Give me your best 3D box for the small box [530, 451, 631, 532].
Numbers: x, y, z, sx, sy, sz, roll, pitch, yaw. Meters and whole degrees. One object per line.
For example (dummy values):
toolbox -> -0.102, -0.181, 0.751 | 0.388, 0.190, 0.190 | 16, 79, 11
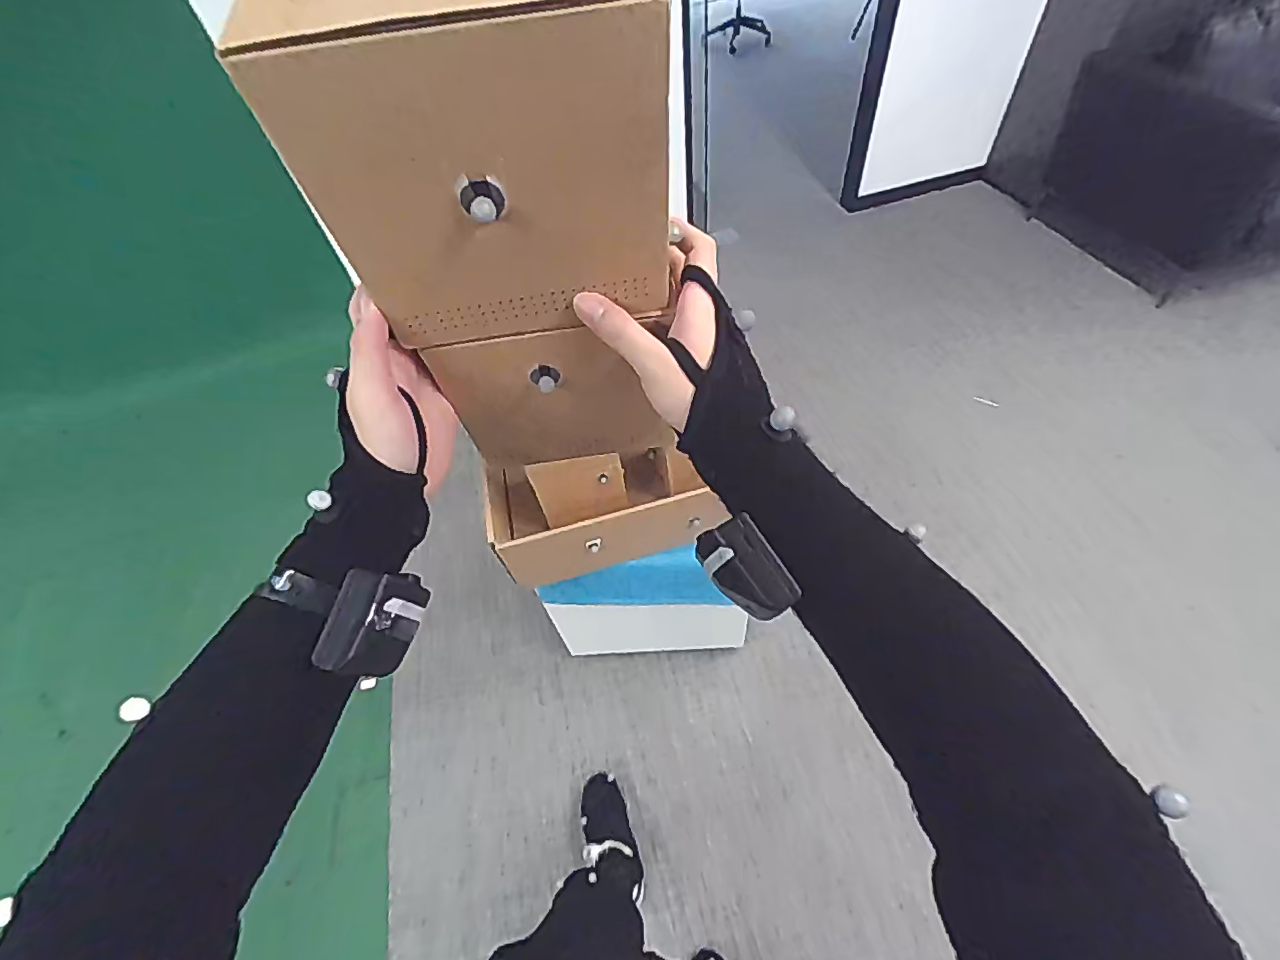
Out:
small box -> -0.128, -0.013, 1.135 | 0.179, 0.176, 0.168 | -15, 50, -6

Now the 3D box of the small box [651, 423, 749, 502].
small box -> 0.121, -0.079, 1.148 | 0.179, 0.176, 0.168 | -19, 51, -5

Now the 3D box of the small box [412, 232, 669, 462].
small box -> -0.072, -0.129, 0.469 | 0.179, 0.176, 0.168 | -8, 63, -1

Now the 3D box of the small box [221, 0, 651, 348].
small box -> -0.091, -0.205, 0.324 | 0.179, 0.176, 0.168 | -11, 62, -1

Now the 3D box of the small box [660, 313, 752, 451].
small box -> 0.098, -0.181, 1.022 | 0.179, 0.176, 0.168 | -19, 51, -7
